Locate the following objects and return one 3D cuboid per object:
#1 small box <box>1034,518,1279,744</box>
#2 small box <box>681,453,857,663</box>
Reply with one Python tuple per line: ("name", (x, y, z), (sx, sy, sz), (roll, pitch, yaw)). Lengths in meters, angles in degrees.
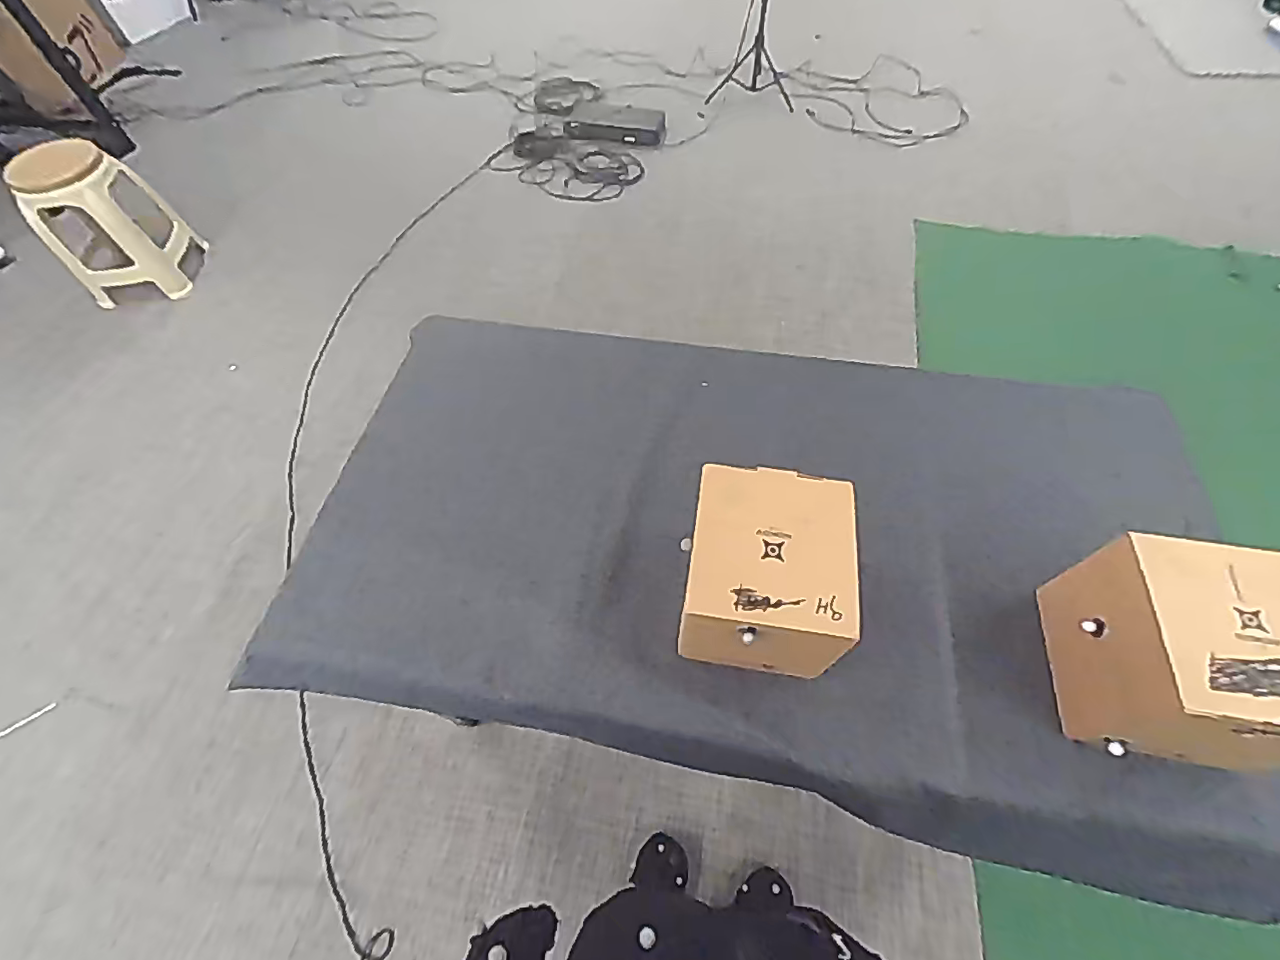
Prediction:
("small box", (0.557, 0.164, 0.568), (0.168, 0.176, 0.179), (8, 58, 8))
("small box", (0.140, 0.094, 0.628), (0.168, 0.176, 0.179), (7, 59, 7))
